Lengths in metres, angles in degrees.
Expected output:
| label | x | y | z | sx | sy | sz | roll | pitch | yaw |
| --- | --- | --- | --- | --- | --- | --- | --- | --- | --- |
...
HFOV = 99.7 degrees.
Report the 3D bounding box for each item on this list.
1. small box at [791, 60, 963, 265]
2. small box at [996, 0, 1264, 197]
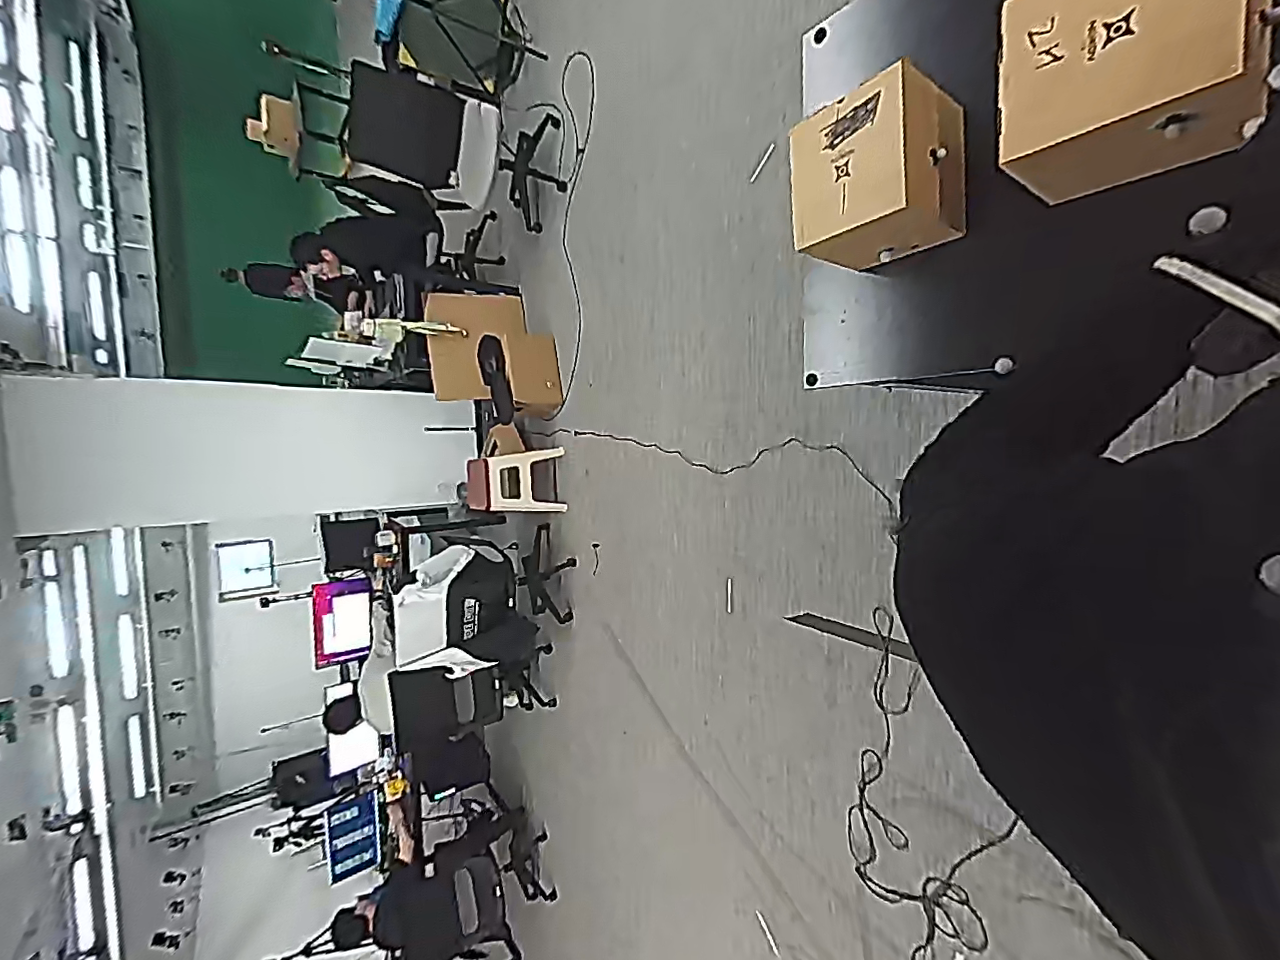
| label | x | y | z | sx | sy | sz | roll | pitch | yaw |
| --- | --- | --- | --- | --- | --- | --- | --- | --- | --- |
| small box | 0.333 | -0.425 | 0.762 | 0.168 | 0.176 | 0.179 | 1 | 95 | 54 |
| small box | 0.492 | -0.417 | 0.547 | 0.179 | 0.176 | 0.168 | 4 | 96 | 53 |
